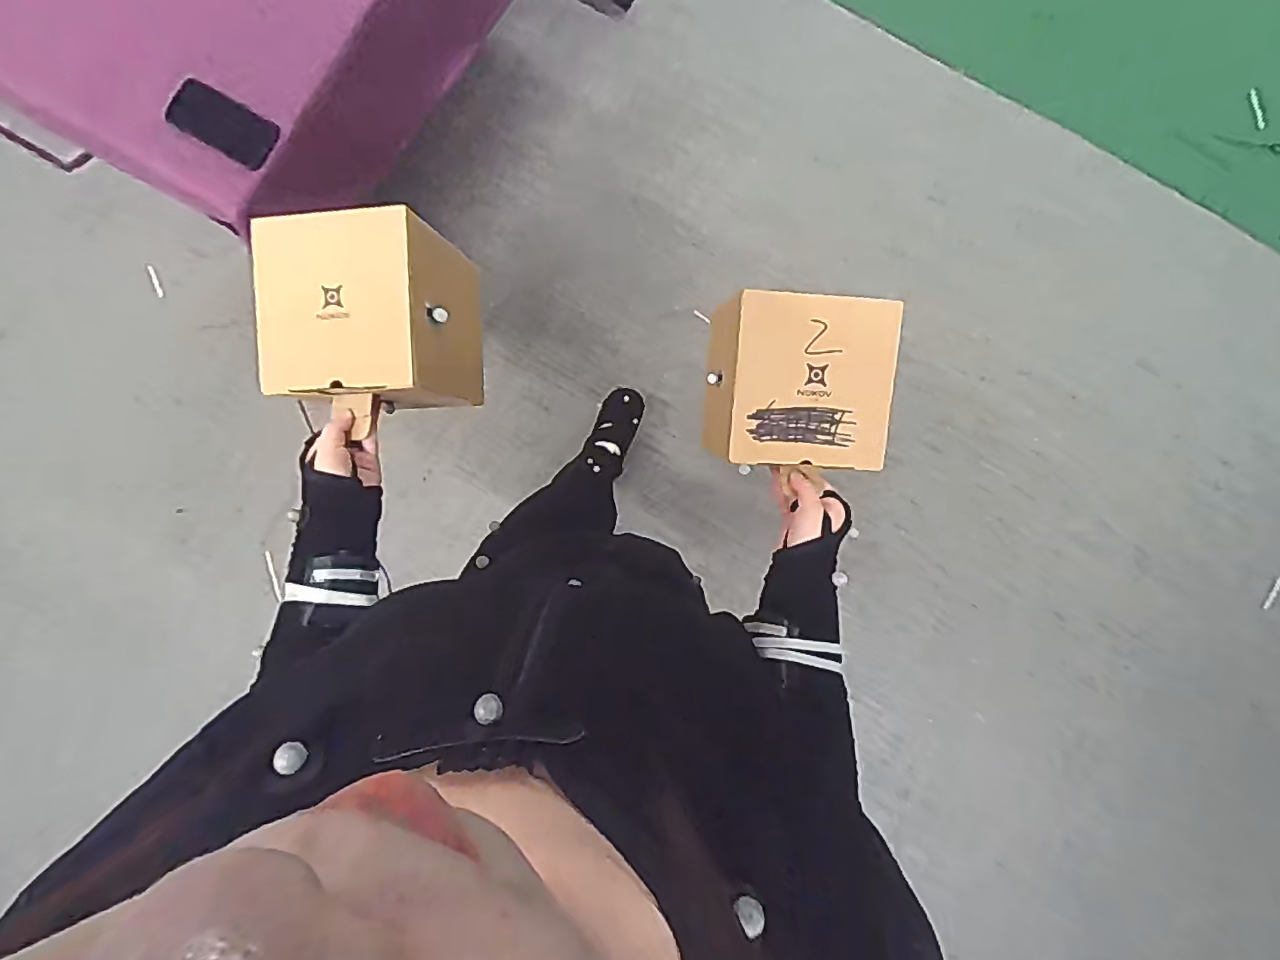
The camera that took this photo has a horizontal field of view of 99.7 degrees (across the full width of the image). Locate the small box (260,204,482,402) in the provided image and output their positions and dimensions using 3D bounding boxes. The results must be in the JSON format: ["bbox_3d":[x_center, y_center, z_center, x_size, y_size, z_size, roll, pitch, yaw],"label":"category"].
[{"bbox_3d":[-0.290,-0.186,0.616,0.168,0.176,0.179,0,93,7],"label":"small box"}]
